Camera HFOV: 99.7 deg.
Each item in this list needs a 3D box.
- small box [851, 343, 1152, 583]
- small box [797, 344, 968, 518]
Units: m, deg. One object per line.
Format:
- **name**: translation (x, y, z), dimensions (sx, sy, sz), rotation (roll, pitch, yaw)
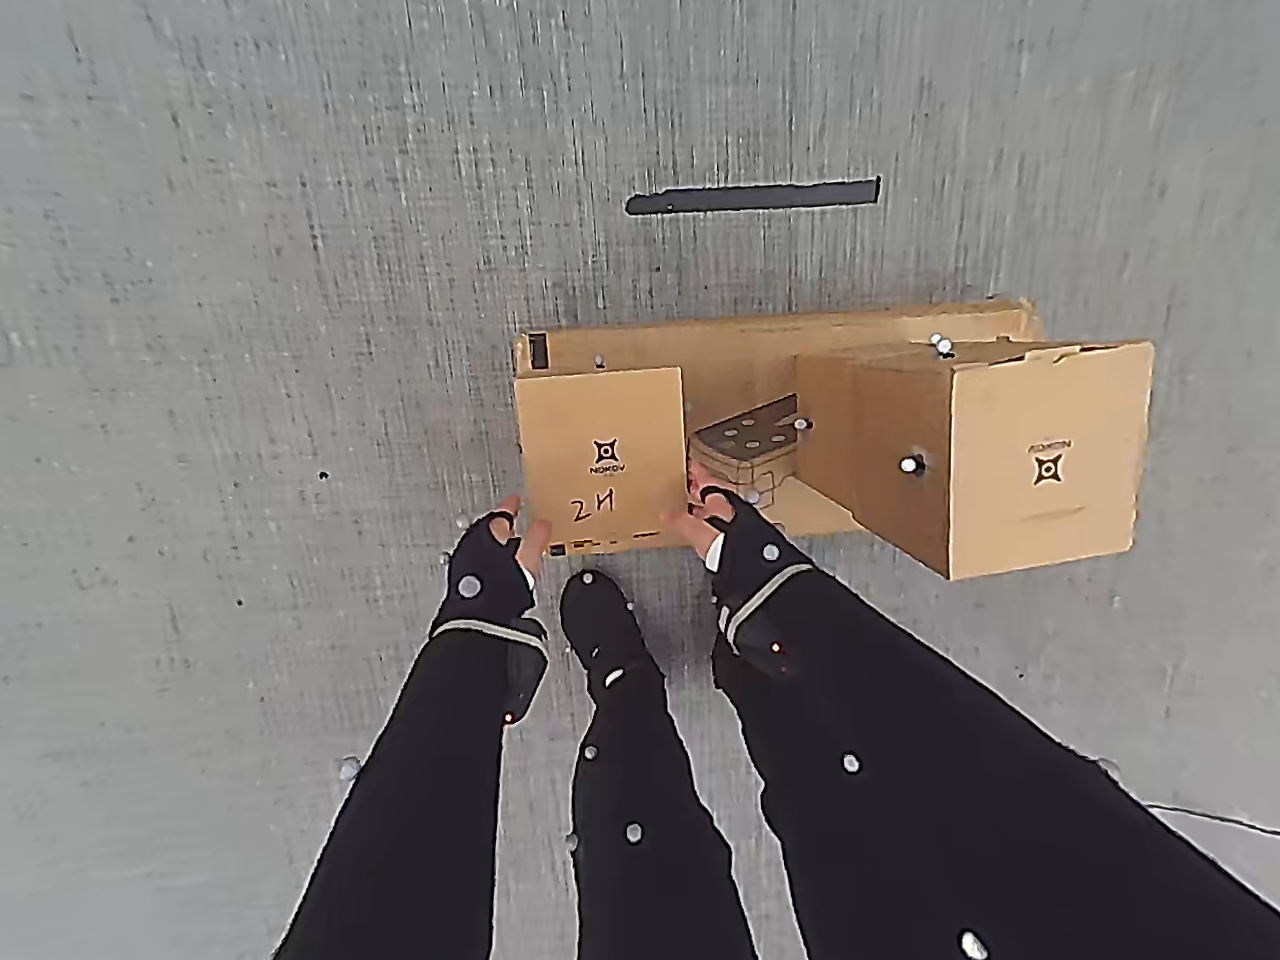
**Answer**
- **small box**: translation (0.314, -0.029, 0.506), dimensions (0.168, 0.176, 0.179), rotation (-9, 106, -4)
- **small box**: translation (0.303, -0.070, 0.663), dimensions (0.168, 0.176, 0.179), rotation (-7, 106, -7)
